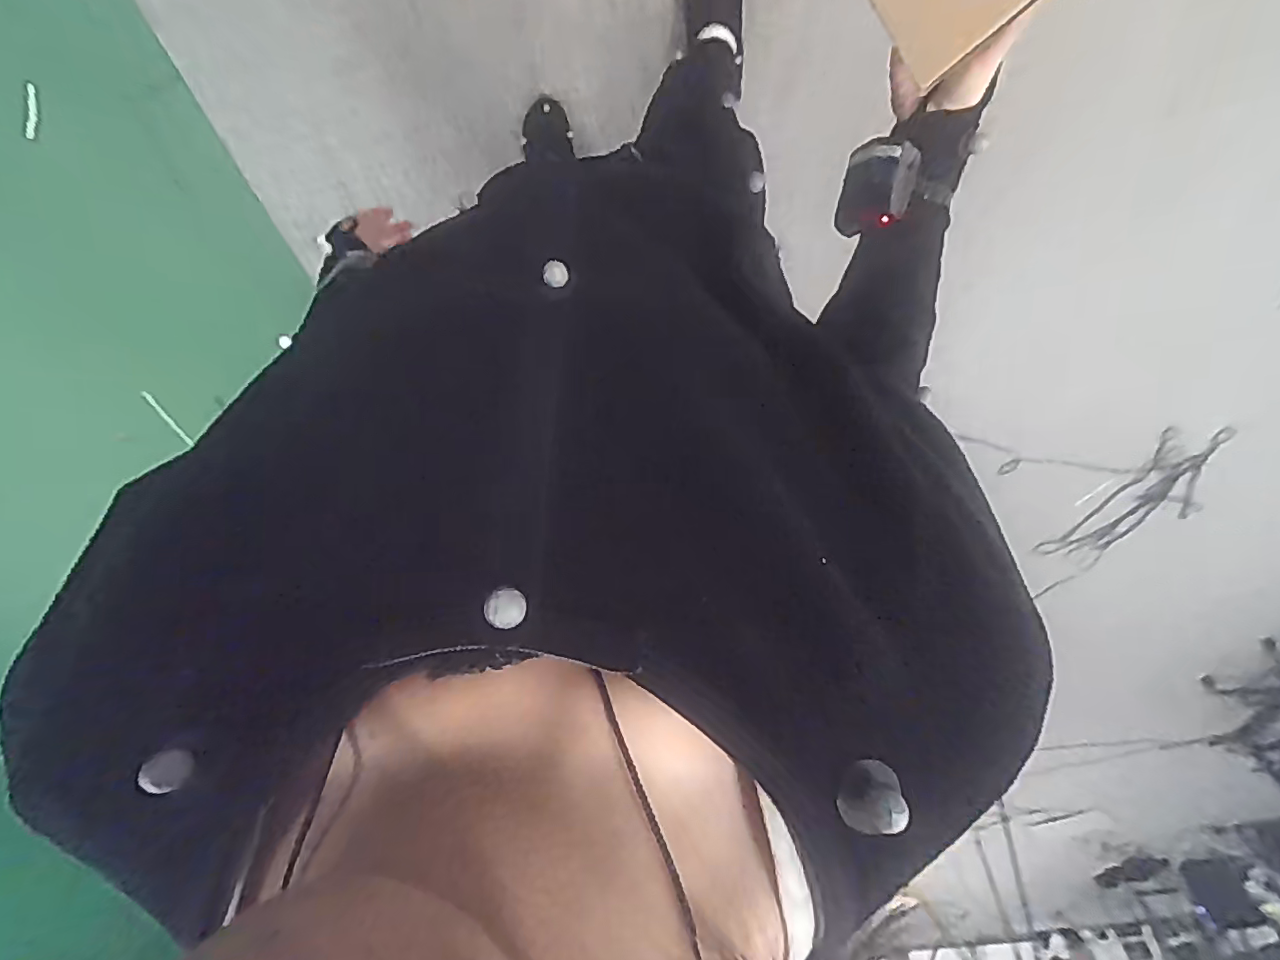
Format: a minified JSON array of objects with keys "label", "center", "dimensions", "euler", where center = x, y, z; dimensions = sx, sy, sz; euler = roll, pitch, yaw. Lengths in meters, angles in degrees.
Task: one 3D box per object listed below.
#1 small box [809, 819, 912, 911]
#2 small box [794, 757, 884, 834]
[{"label":"small box","center":[0.592,1.045,1.469],"dimensions":[0.168,0.176,0.179],"euler":[33,123,-28]},{"label":"small box","center":[0.586,0.949,1.604],"dimensions":[0.179,0.176,0.168],"euler":[-30,126,21]}]
